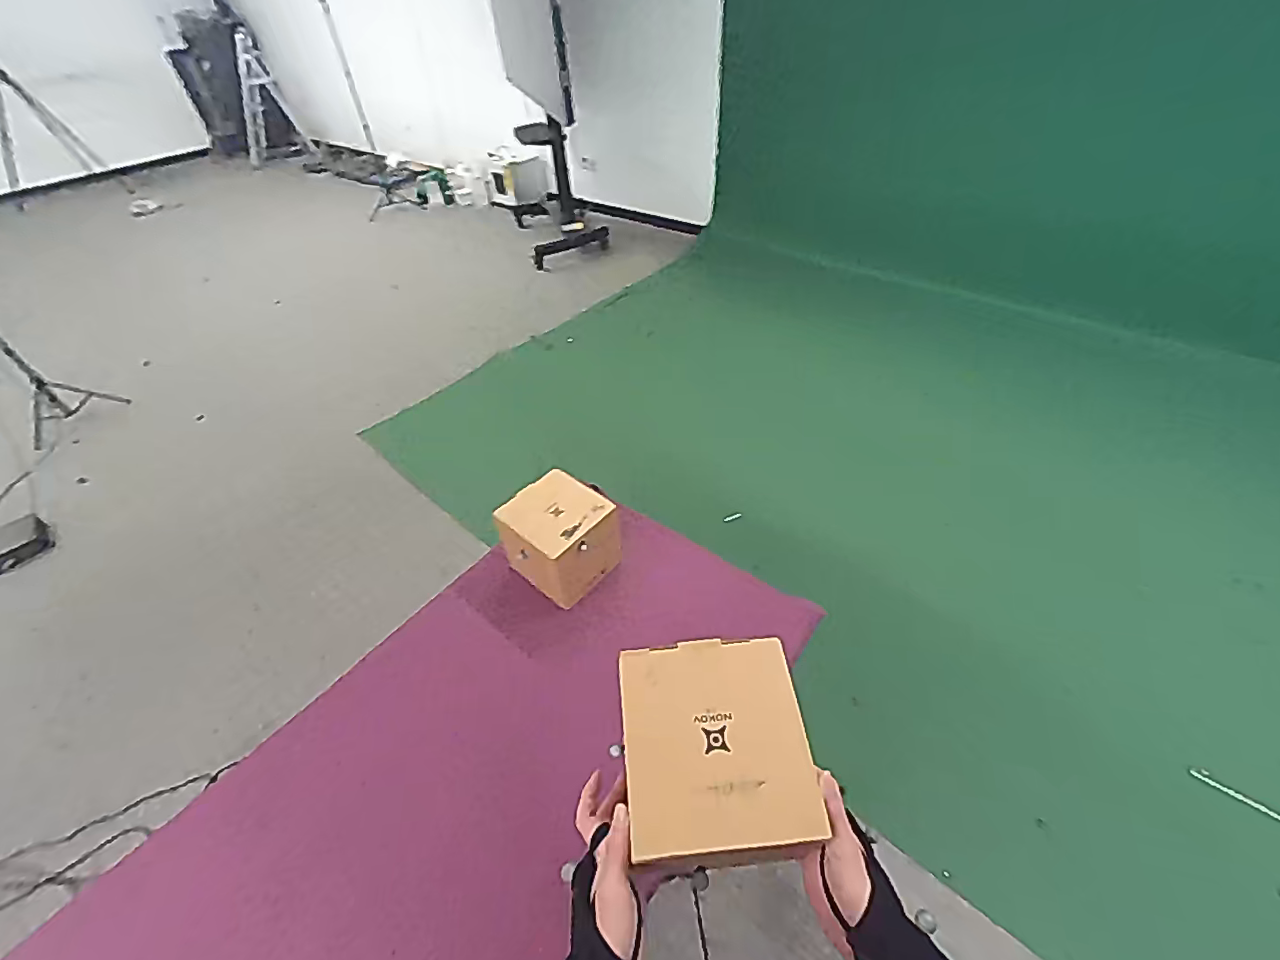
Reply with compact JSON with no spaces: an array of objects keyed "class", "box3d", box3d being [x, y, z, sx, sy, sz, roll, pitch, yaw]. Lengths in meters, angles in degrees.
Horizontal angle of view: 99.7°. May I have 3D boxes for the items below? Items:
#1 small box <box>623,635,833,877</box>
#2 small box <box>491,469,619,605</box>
[{"class":"small box","box3d":[0.067,0.275,0.538,0.168,0.176,0.179,-4,50,-2]},{"class":"small box","box3d":[-0.161,0.115,1.070,0.179,0.176,0.168,29,54,31]}]
